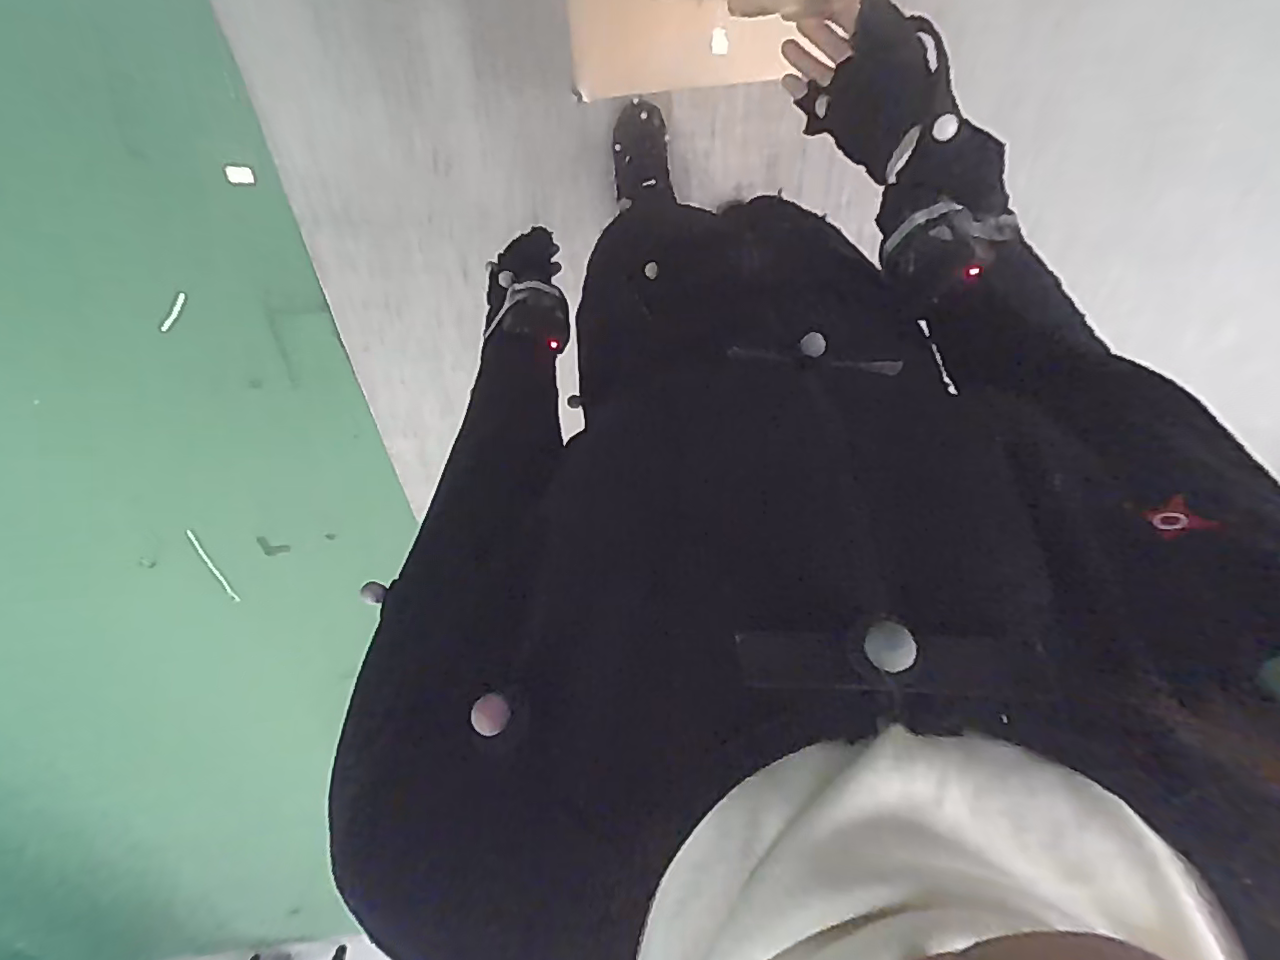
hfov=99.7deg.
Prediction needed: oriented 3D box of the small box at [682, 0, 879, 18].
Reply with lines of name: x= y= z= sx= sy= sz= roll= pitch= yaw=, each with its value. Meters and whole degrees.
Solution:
small box: x=0.109 y=-0.474 z=0.405 sx=0.168 sy=0.176 sz=0.179 roll=-7 pitch=133 yaw=-1
